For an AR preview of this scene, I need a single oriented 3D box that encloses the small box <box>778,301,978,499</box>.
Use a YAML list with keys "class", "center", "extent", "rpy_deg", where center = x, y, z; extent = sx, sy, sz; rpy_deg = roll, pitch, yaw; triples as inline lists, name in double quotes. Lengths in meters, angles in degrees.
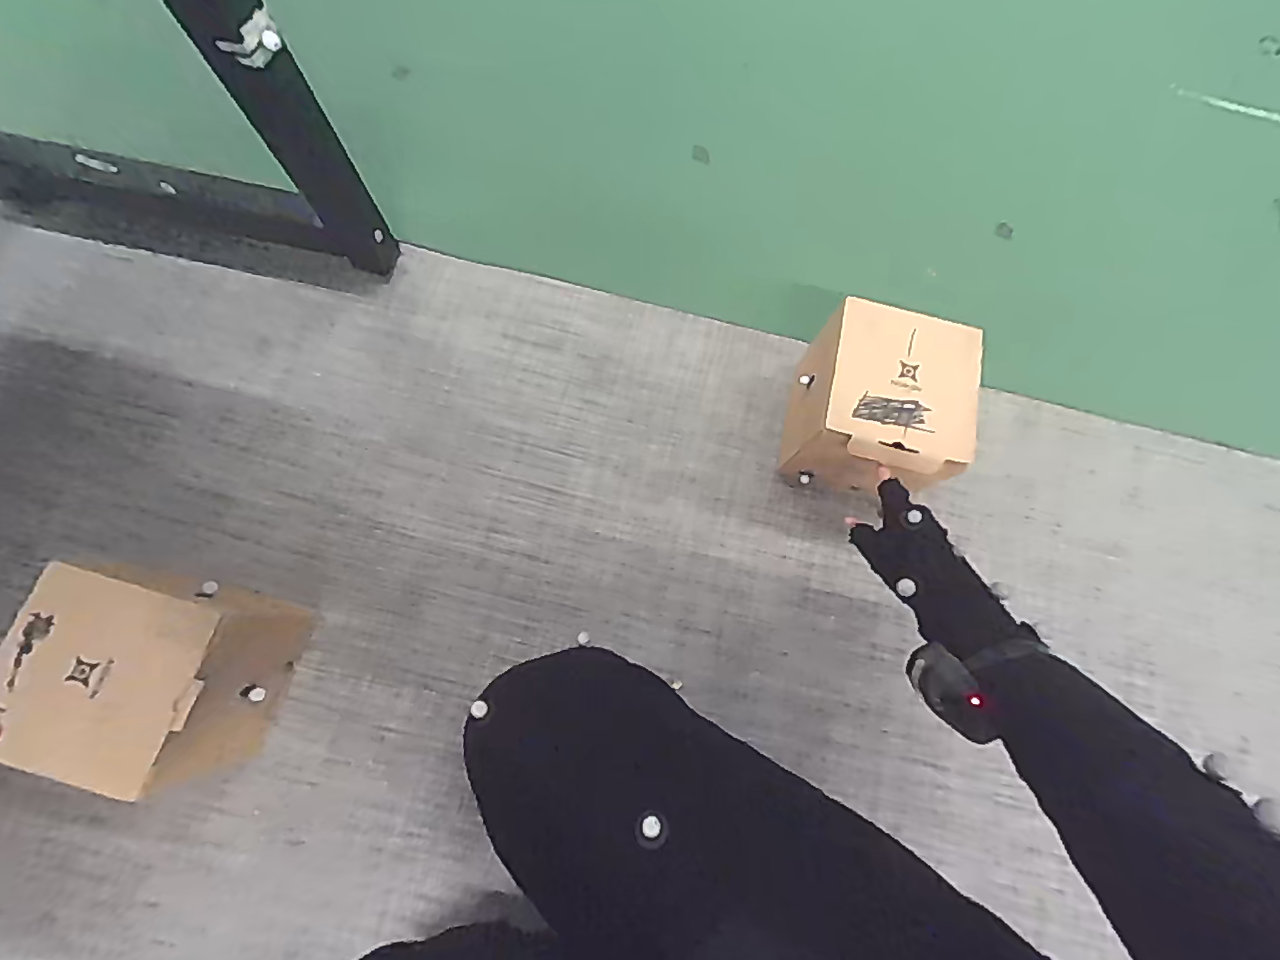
- class: "small box"
  center: [0.286, -0.088, 0.681]
  extent: [0.168, 0.176, 0.179]
  rpy_deg: [15, 75, 1]
